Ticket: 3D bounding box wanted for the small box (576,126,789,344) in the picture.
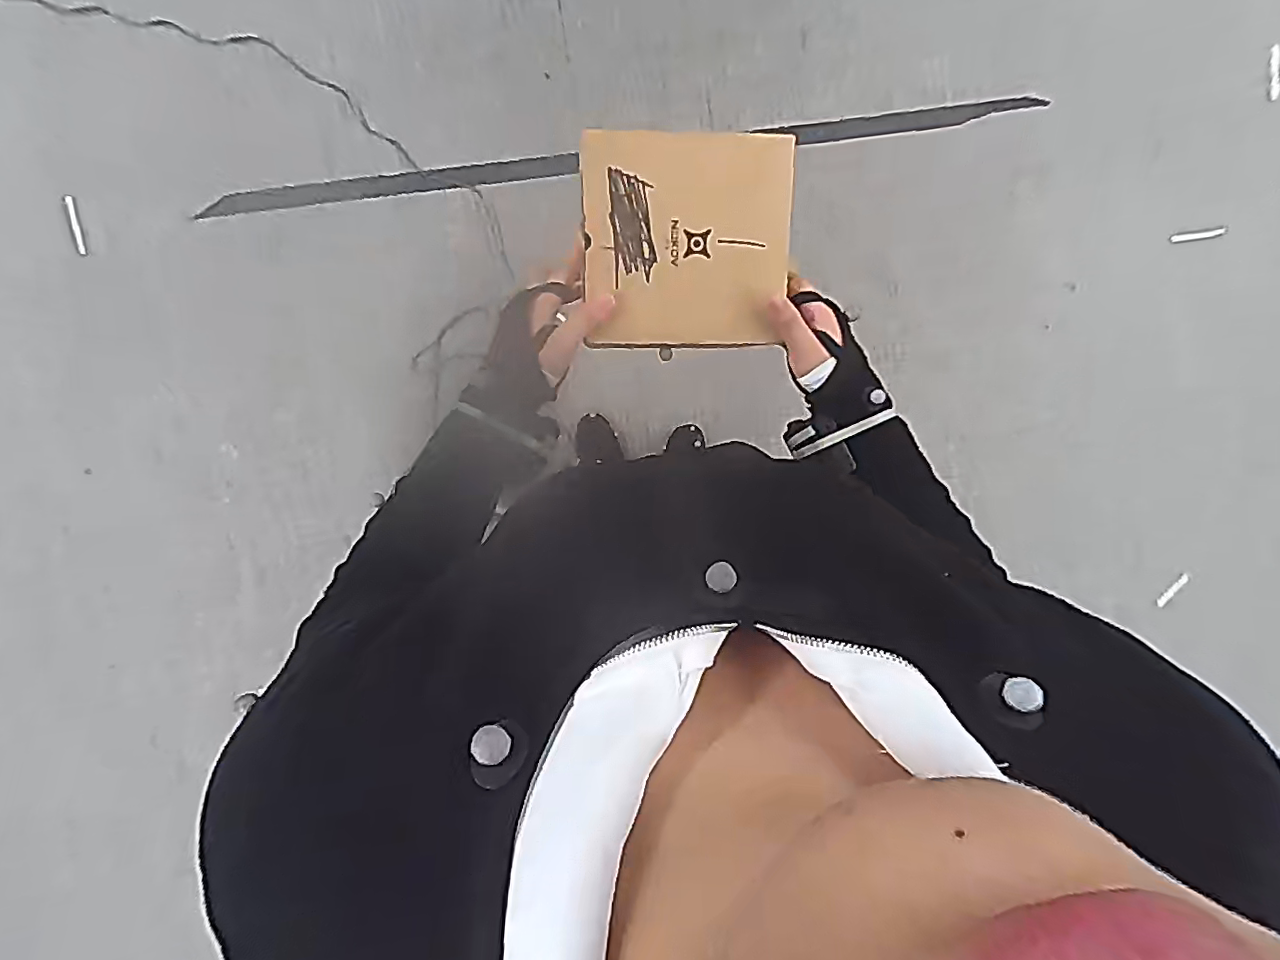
[{"bbox_3d":[0.031,-0.221,0.532,0.179,0.176,0.168,-1,103,-4],"label":"small box"}]
